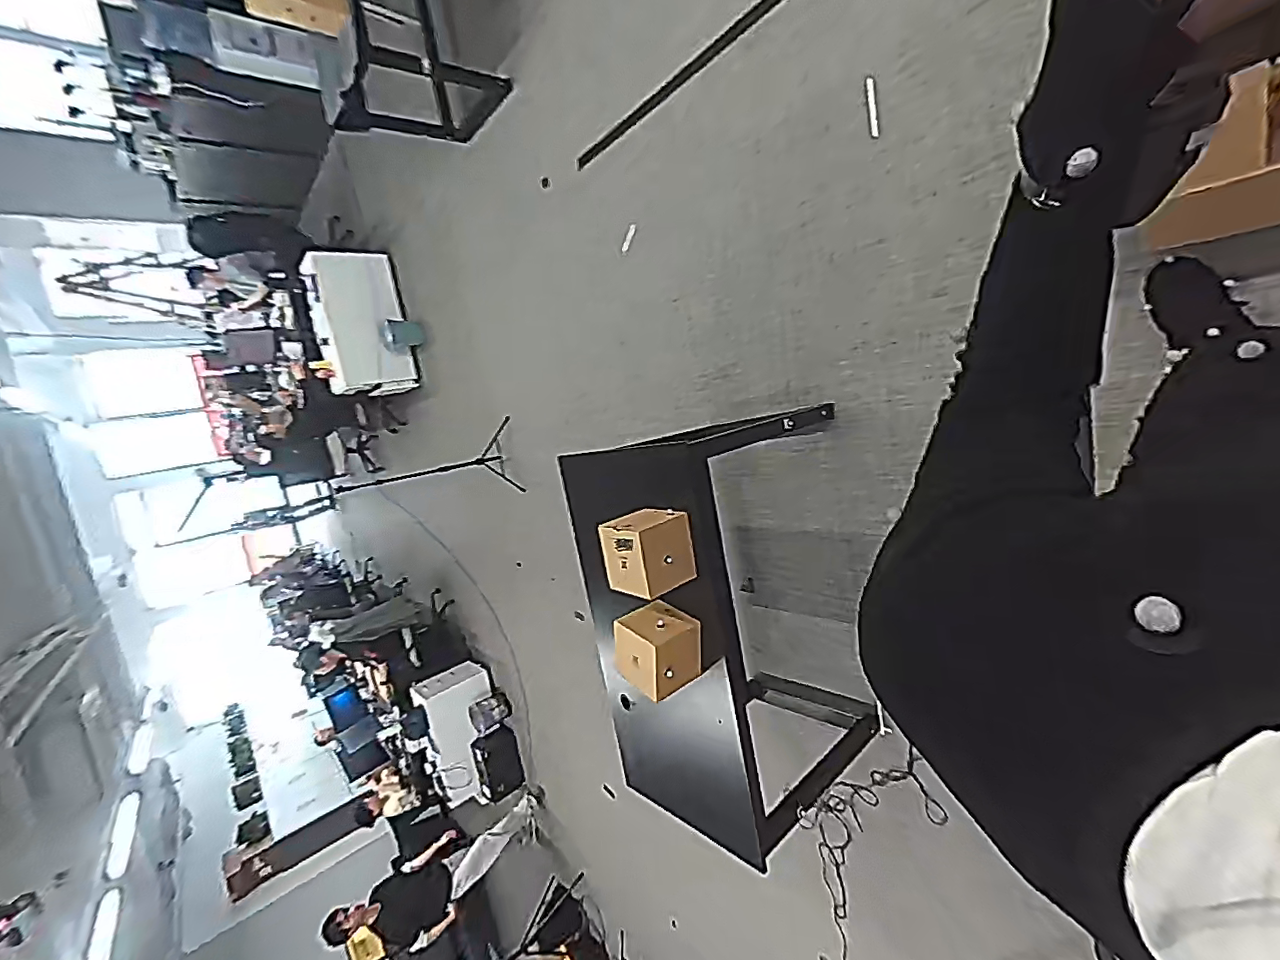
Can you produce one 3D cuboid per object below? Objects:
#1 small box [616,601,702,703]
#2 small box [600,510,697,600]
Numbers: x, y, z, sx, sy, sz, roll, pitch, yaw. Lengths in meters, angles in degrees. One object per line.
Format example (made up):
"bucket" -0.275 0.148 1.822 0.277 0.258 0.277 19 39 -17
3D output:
"small box" 0.055 0.453 1.460 0.168 0.176 0.179 18 117 46
"small box" 0.025 0.183 1.391 0.168 0.176 0.179 2 106 51
